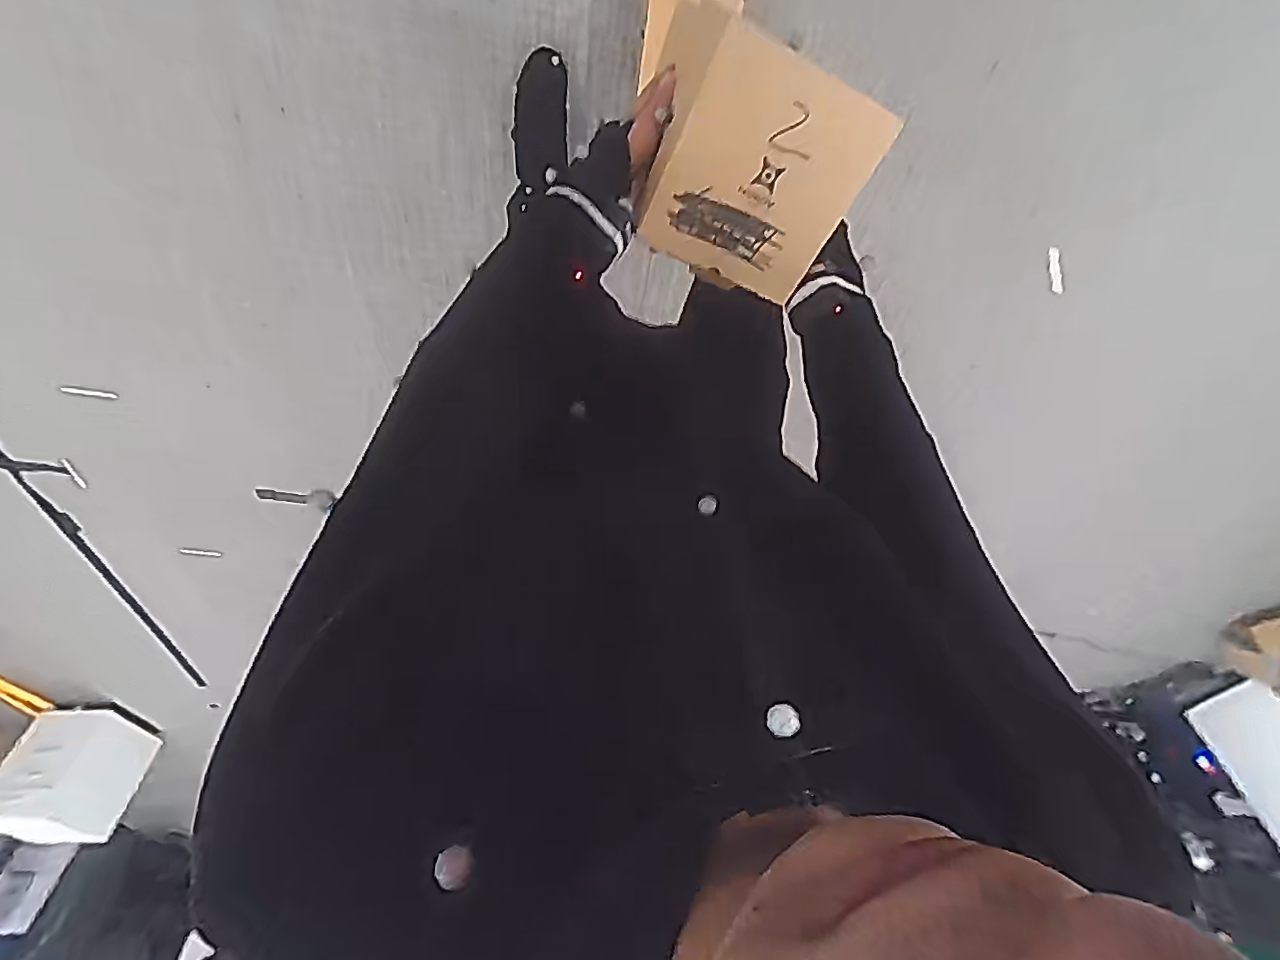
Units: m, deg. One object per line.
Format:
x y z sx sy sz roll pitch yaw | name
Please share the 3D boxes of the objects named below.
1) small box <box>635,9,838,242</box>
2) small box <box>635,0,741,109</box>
0.095 -0.421 0.642 0.168 0.176 0.179 12 132 -15 | small box
0.085 -0.826 1.047 0.168 0.176 0.179 6 133 -6 | small box
